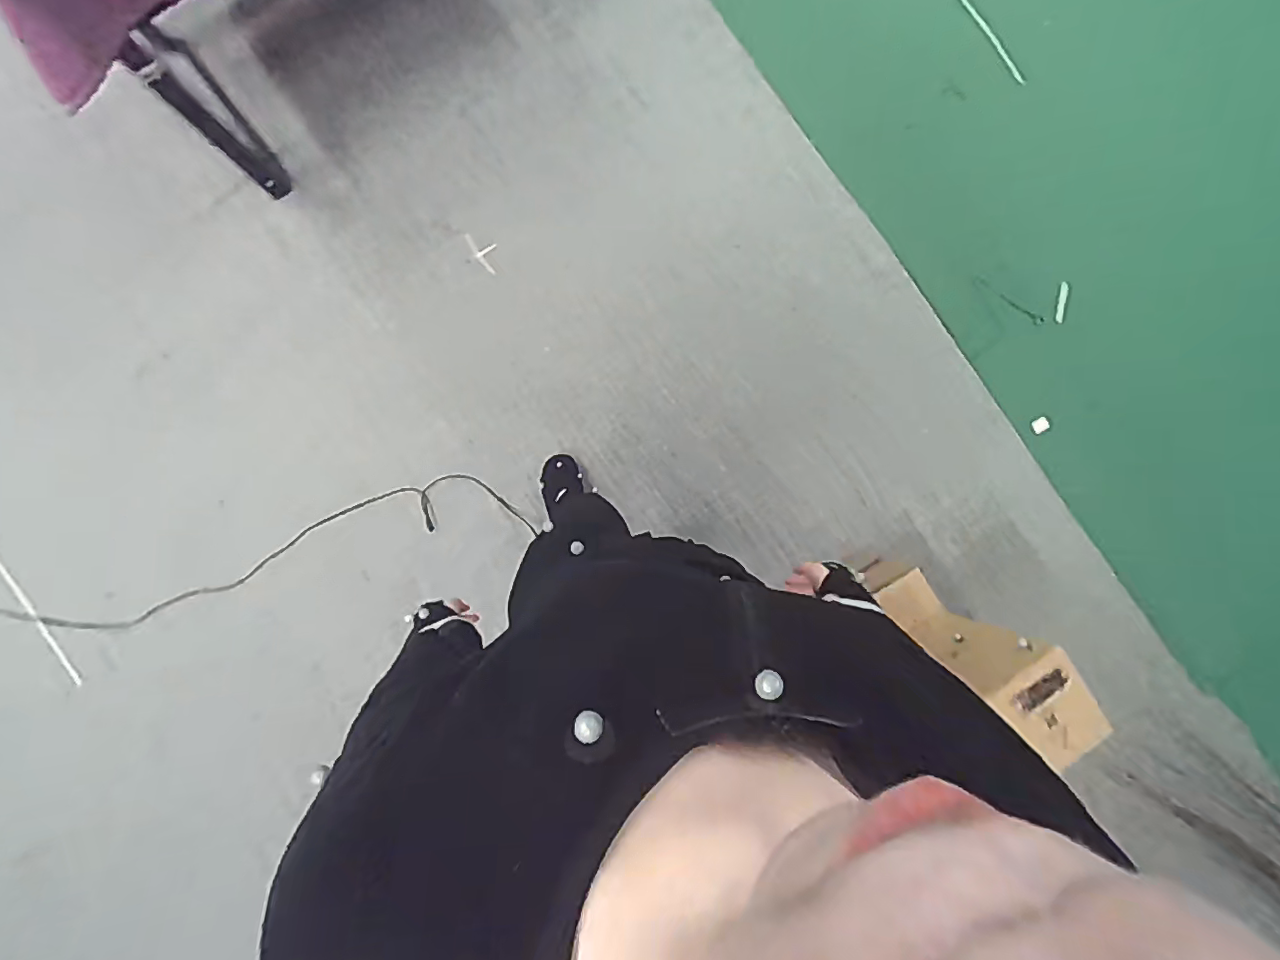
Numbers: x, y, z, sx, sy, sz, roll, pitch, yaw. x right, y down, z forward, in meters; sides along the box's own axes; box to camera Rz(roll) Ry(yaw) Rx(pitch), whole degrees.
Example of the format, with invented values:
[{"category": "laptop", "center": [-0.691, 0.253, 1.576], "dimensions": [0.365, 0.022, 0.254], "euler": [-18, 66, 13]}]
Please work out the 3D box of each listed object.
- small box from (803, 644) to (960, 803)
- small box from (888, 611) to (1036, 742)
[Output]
[{"category": "small box", "center": [0.409, 0.418, 0.958], "dimensions": [0.179, 0.176, 0.168], "euler": [-27, 90, -2]}, {"category": "small box", "center": [0.663, 0.400, 1.133], "dimensions": [0.168, 0.176, 0.179], "euler": [-28, 91, -4]}]
